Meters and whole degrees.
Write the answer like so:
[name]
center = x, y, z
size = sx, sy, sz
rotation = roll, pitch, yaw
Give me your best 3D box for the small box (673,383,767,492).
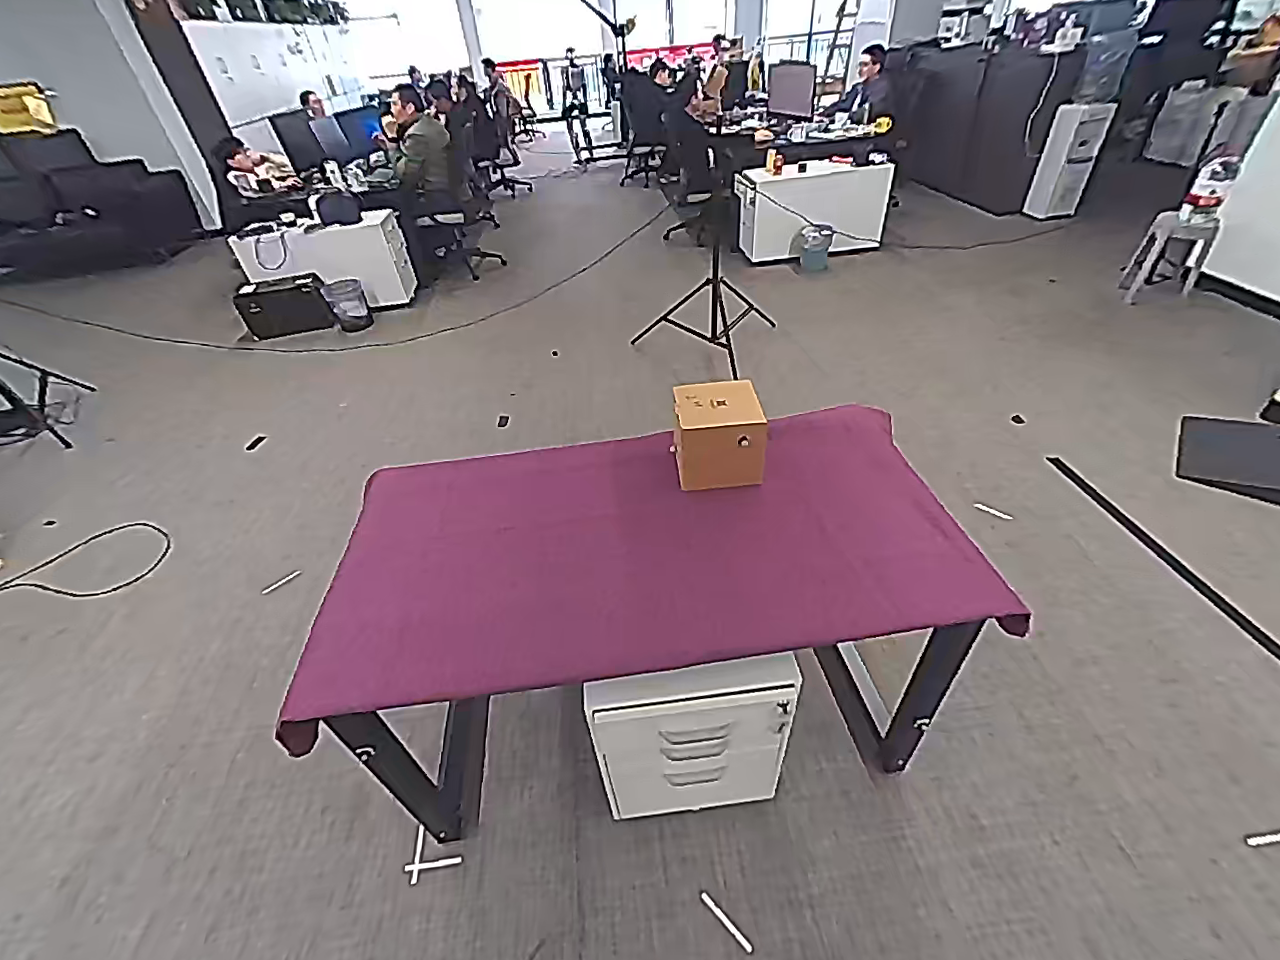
[small box]
center = 0.168, -0.092, 1.181
size = 0.179, 0.176, 0.168
rotation = -6, 40, 1
